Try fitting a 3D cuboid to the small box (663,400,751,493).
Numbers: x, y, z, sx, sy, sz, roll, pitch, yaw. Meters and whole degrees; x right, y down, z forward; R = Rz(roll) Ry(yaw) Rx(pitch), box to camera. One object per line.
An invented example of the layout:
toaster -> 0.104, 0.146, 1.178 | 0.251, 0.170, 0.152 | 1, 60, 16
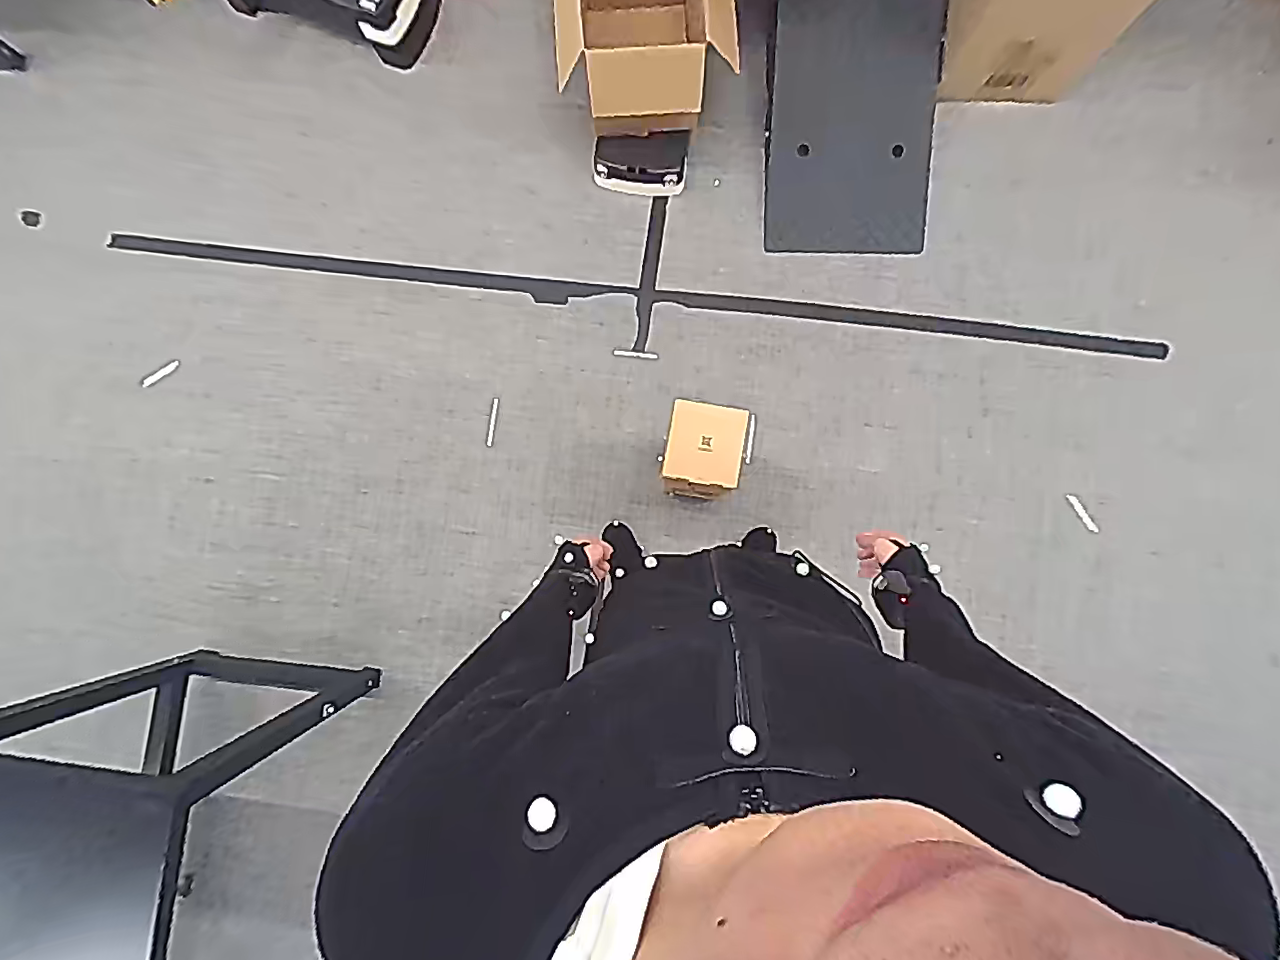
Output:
small box -> 0.146, -0.070, 1.246 | 0.168, 0.176, 0.179 | 10, 87, 1
